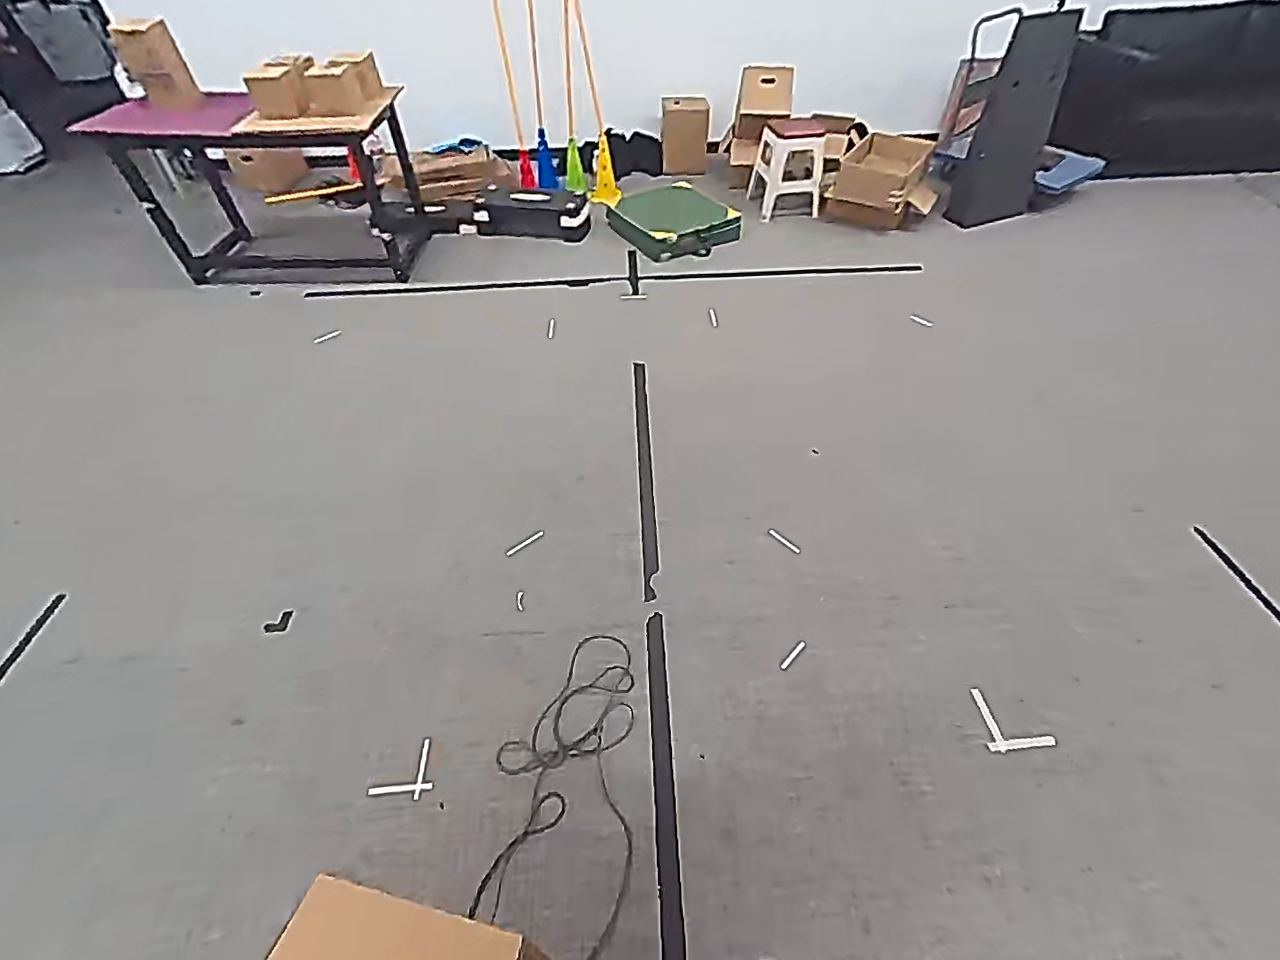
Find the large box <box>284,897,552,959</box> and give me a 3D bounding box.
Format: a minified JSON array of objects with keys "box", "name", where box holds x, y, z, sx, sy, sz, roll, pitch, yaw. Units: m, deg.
[{"box":[-0.264,0.777,0.663,0.320,0.408,0.320,0,39,18],"name":"large box"}]
